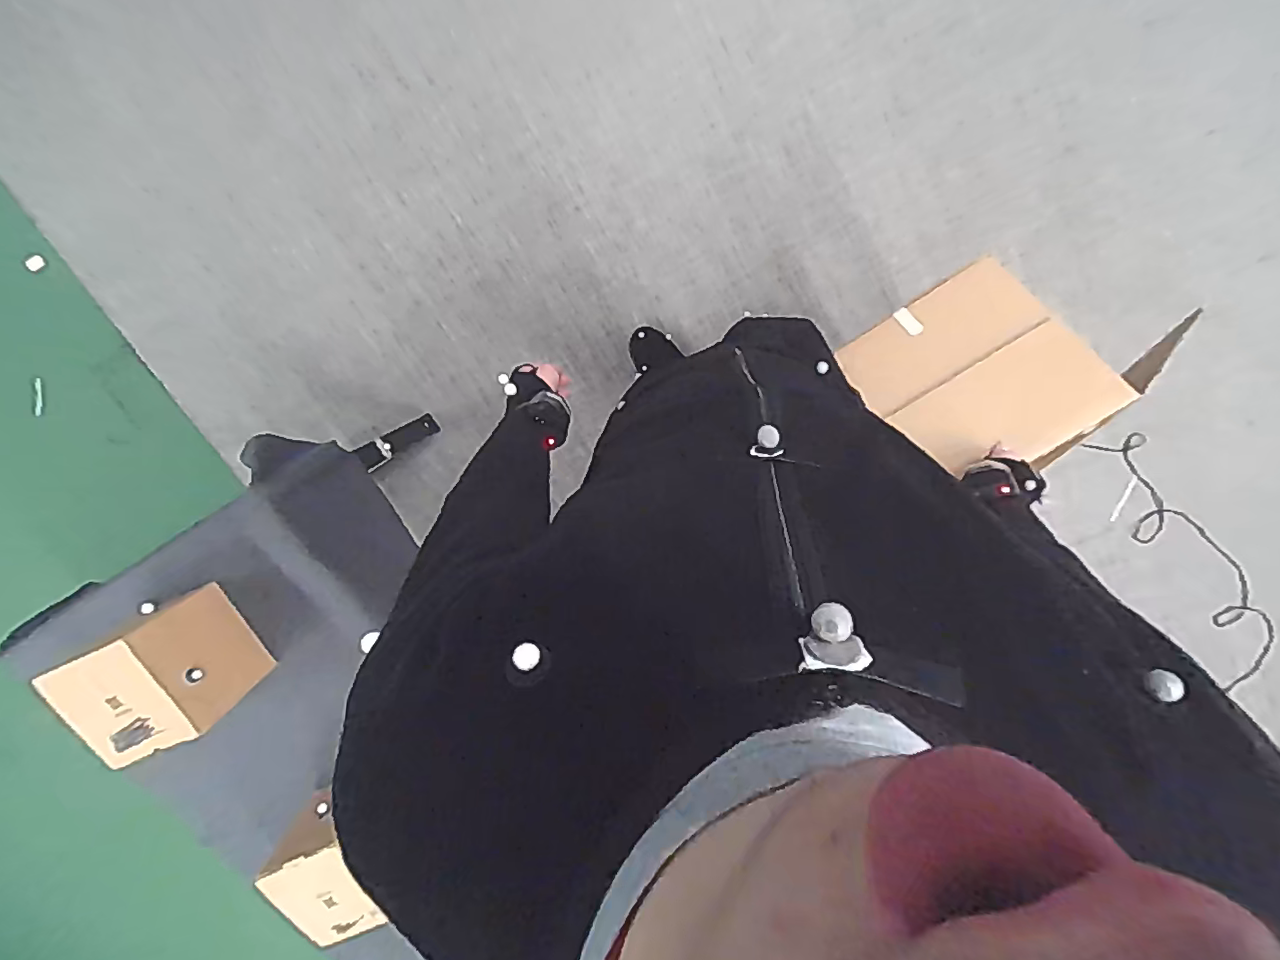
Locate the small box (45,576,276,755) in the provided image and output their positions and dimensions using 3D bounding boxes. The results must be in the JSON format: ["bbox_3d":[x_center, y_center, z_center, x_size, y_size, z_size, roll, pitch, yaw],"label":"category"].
[{"bbox_3d":[-0.727,0.283,0.847,0.168,0.176,0.179,-23,106,8],"label":"small box"}]
